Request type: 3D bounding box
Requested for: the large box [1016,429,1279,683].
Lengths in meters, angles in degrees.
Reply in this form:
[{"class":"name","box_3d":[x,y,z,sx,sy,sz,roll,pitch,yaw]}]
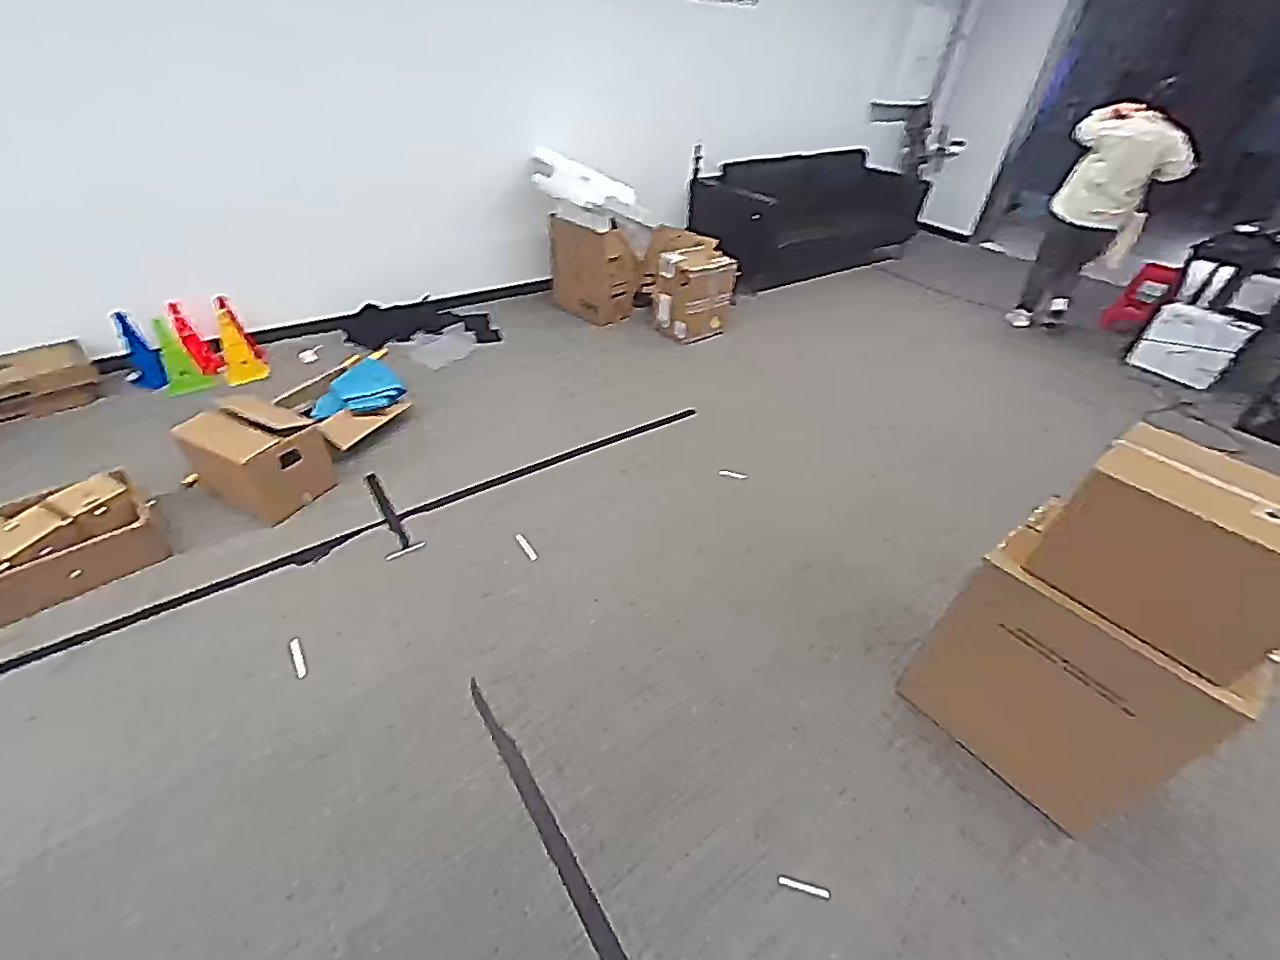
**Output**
[{"class":"large box","box_3d":[1.159,0.148,1.193,0.320,0.320,0.408,-25,48,-31]}]
